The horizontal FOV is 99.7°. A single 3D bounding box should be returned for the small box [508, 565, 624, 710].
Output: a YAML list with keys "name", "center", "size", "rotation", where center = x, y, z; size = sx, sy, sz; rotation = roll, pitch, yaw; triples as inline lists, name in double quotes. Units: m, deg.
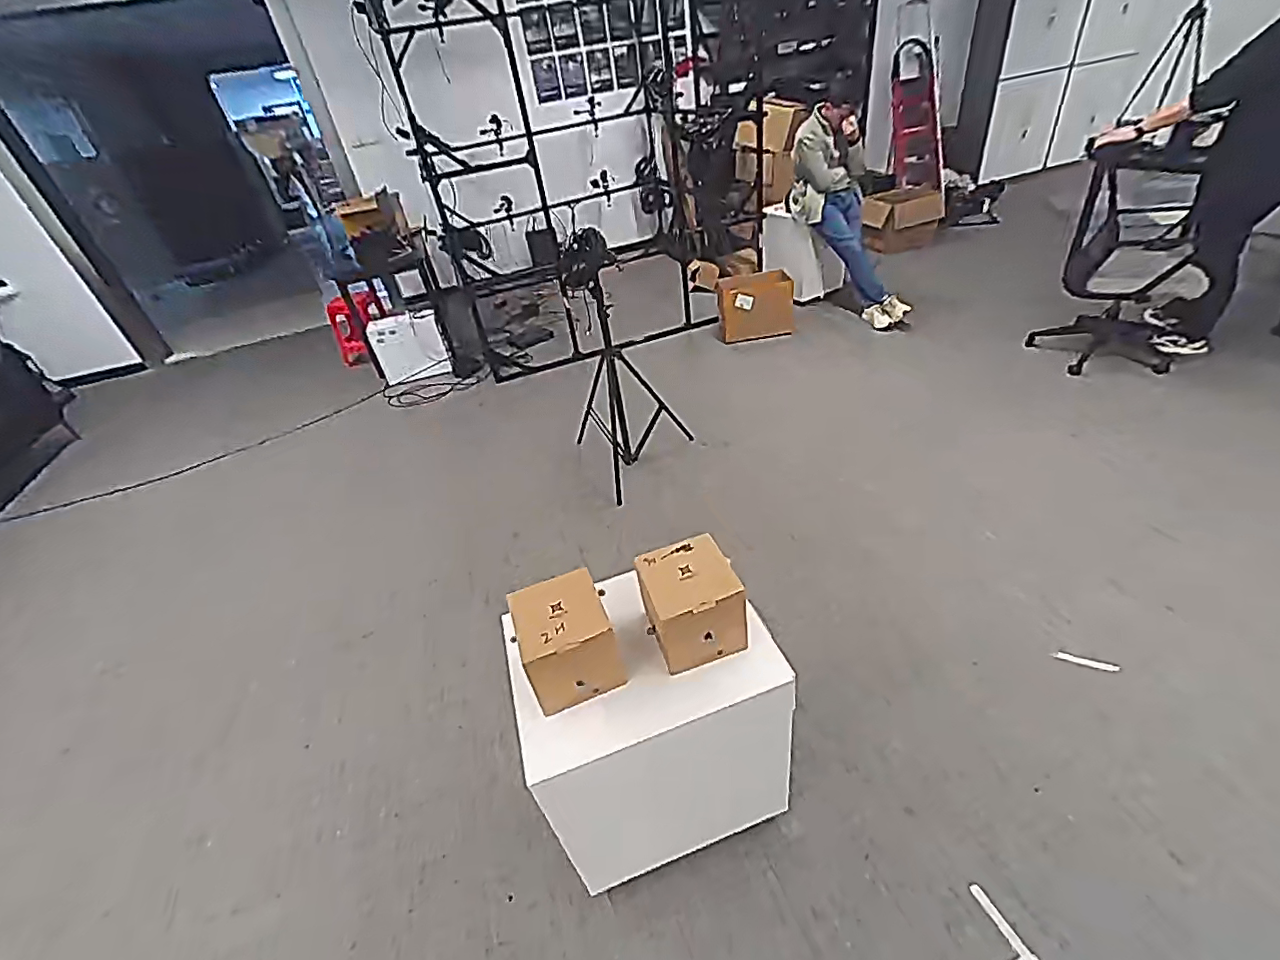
- name: "small box"
  center: [-0.142, 0.300, 1.040]
  size: [0.168, 0.176, 0.179]
  rotation: [-19, 38, -11]

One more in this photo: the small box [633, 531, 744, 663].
- name: "small box"
  center: [0.098, 0.236, 1.068]
  size: [0.168, 0.176, 0.179]
  rotation: [-16, 38, -9]
